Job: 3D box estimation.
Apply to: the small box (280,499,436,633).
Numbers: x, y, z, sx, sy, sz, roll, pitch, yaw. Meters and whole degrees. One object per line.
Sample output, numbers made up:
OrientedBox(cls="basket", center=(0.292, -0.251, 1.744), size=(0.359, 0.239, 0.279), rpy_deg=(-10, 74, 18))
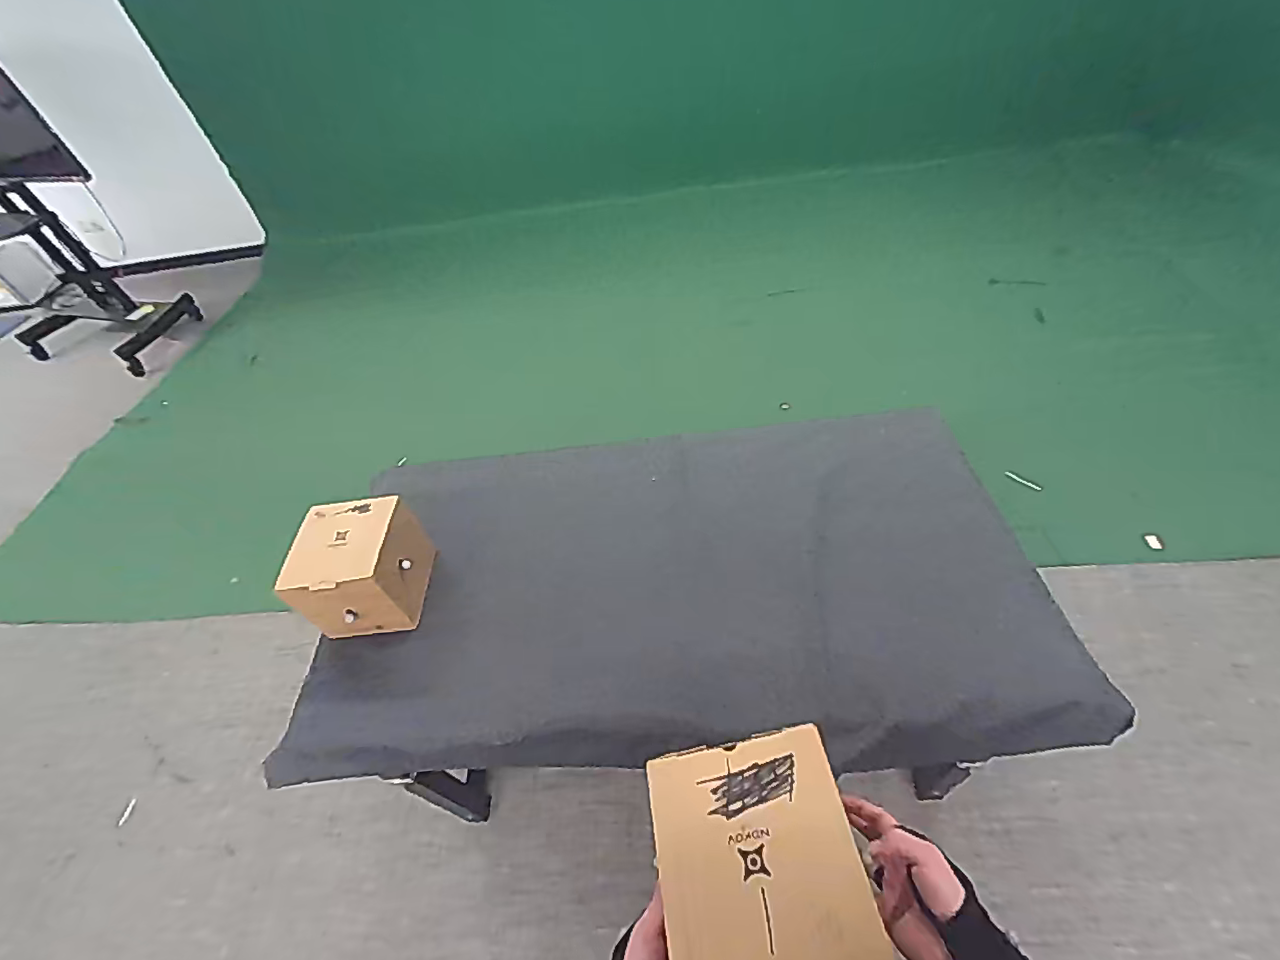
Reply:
OrientedBox(cls="small box", center=(-0.483, 0.160, 0.961), size=(0.168, 0.176, 0.179), rpy_deg=(-7, 48, 3))
